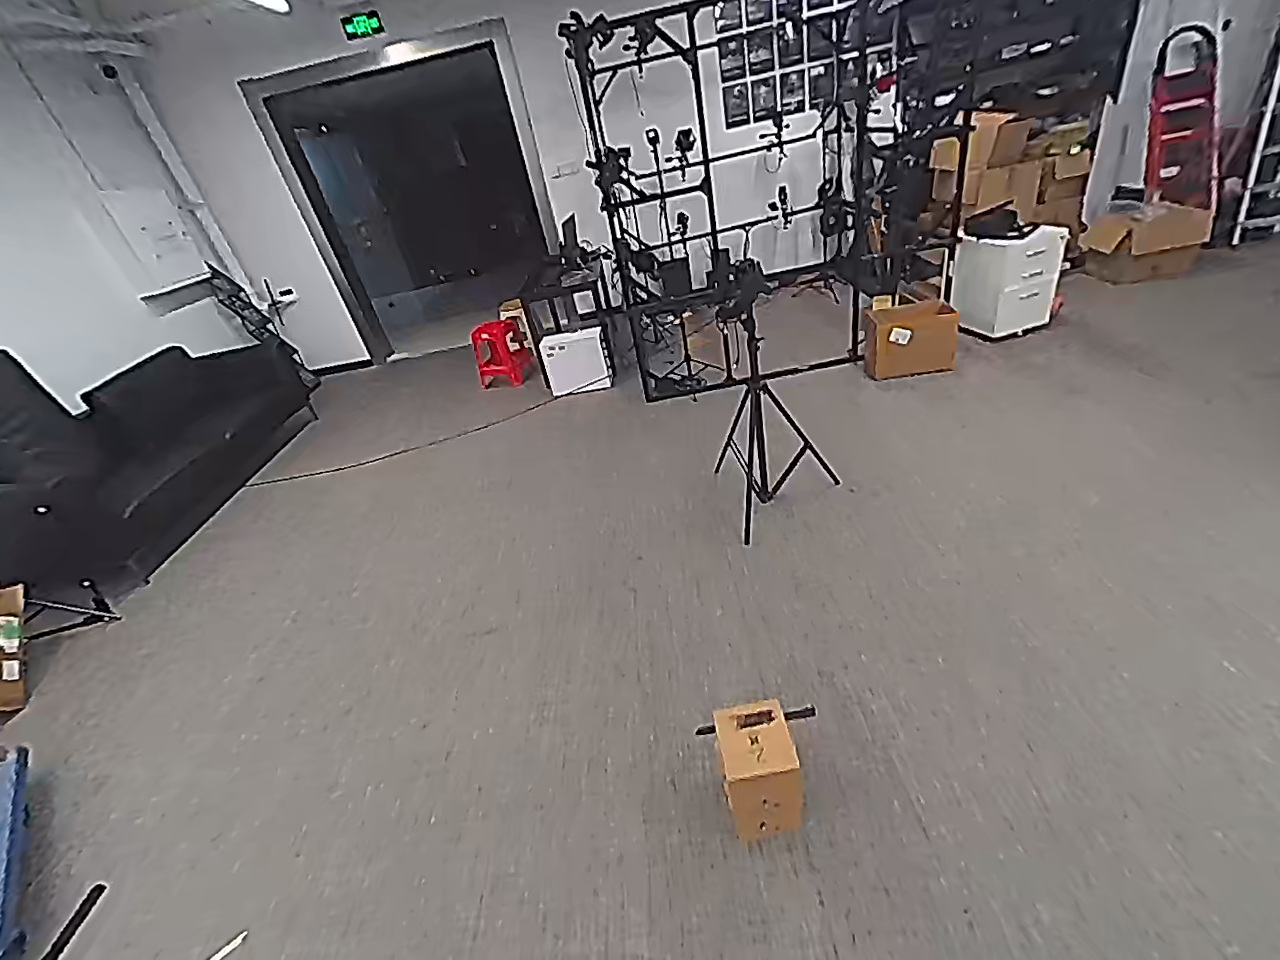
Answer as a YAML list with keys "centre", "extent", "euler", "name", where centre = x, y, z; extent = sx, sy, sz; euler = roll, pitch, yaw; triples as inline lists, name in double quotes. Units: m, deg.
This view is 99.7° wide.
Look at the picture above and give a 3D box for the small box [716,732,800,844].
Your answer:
- centre: [0.302, 0.793, 1.394]
  extent: [0.168, 0.176, 0.179]
  euler: [-14, 32, -1]
  name: "small box"
